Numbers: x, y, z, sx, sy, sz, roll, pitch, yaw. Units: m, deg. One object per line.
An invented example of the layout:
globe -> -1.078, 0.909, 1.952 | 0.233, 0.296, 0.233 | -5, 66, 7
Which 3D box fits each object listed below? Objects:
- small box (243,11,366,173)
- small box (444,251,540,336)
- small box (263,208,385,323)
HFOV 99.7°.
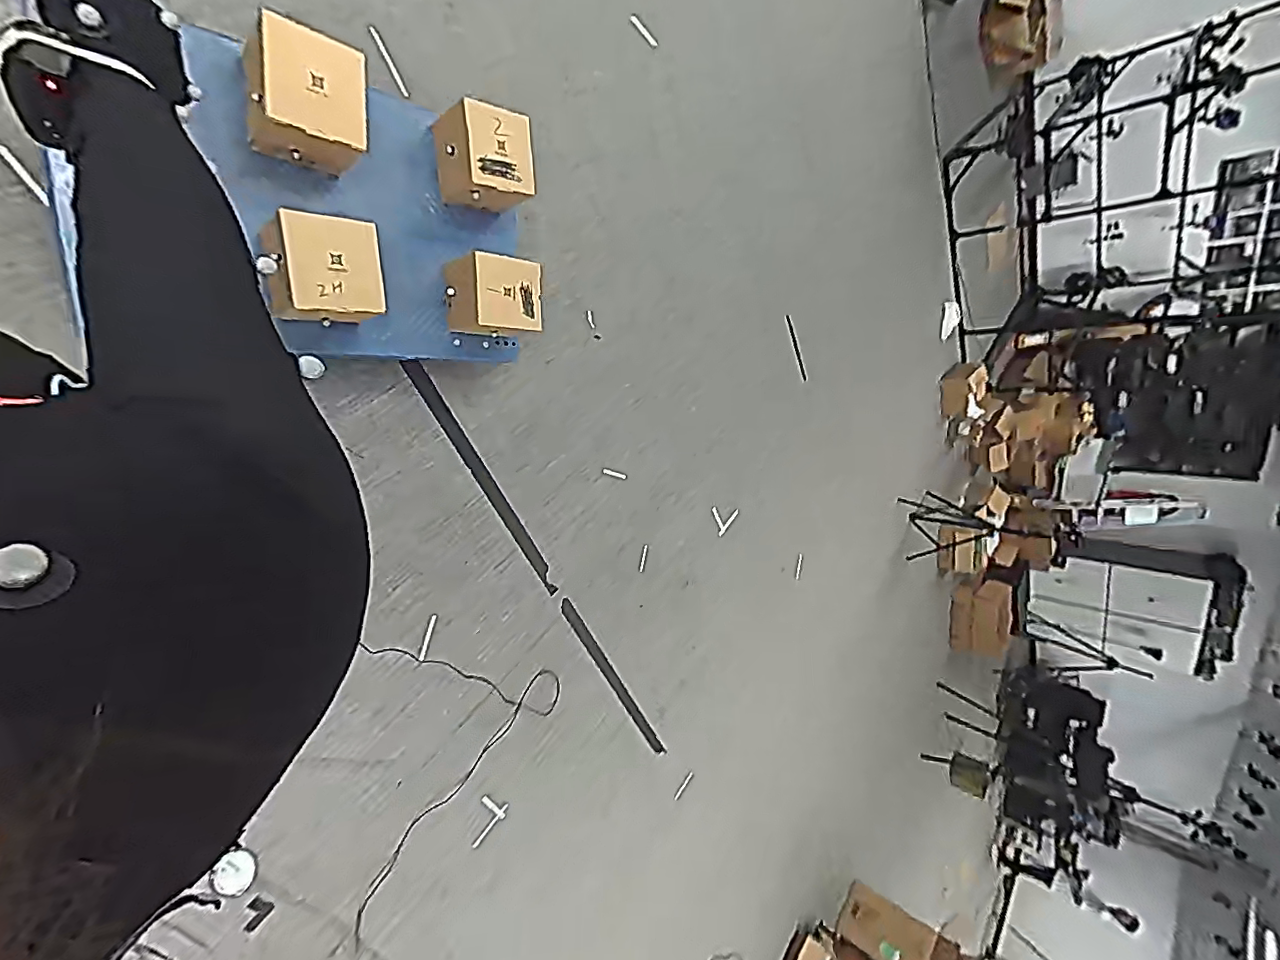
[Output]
small box -> -0.643, -0.725, 1.036 | 0.168, 0.176, 0.179 | -6, 102, -45
small box -> -0.368, -0.455, 1.348 | 0.179, 0.176, 0.168 | -8, 101, -43
small box -> -0.636, -0.419, 1.087 | 0.168, 0.176, 0.179 | -12, 104, -43
